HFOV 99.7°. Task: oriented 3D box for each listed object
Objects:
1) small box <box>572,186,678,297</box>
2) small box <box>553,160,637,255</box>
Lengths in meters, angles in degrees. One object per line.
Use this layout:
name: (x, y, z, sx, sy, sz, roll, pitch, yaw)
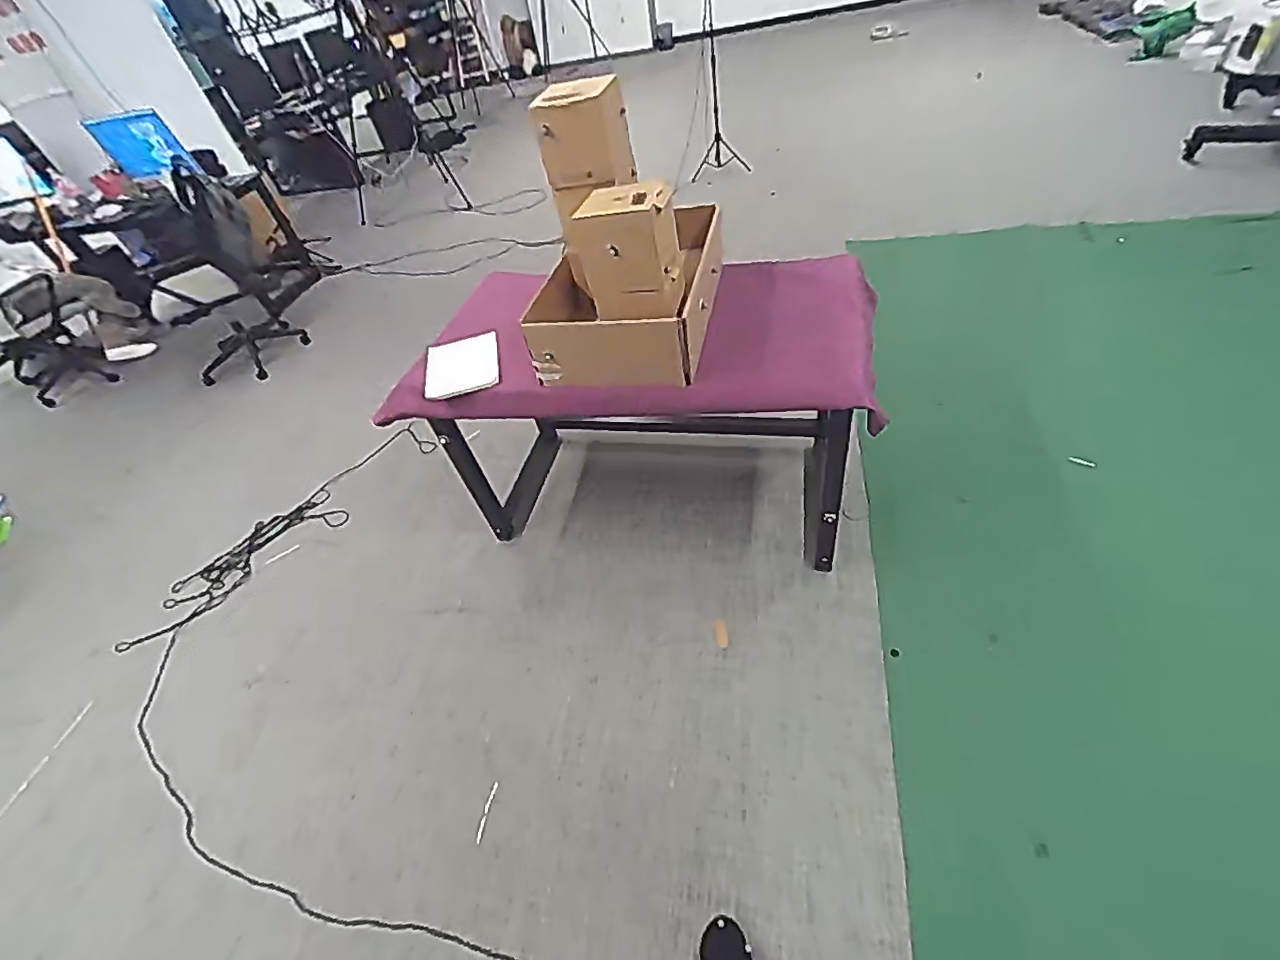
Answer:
small box: (-0.023, -0.521, 1.194, 0.179, 0.176, 0.168, 2, 46, 19)
small box: (-0.098, -0.689, 1.385, 0.168, 0.176, 0.179, 4, 49, 18)
